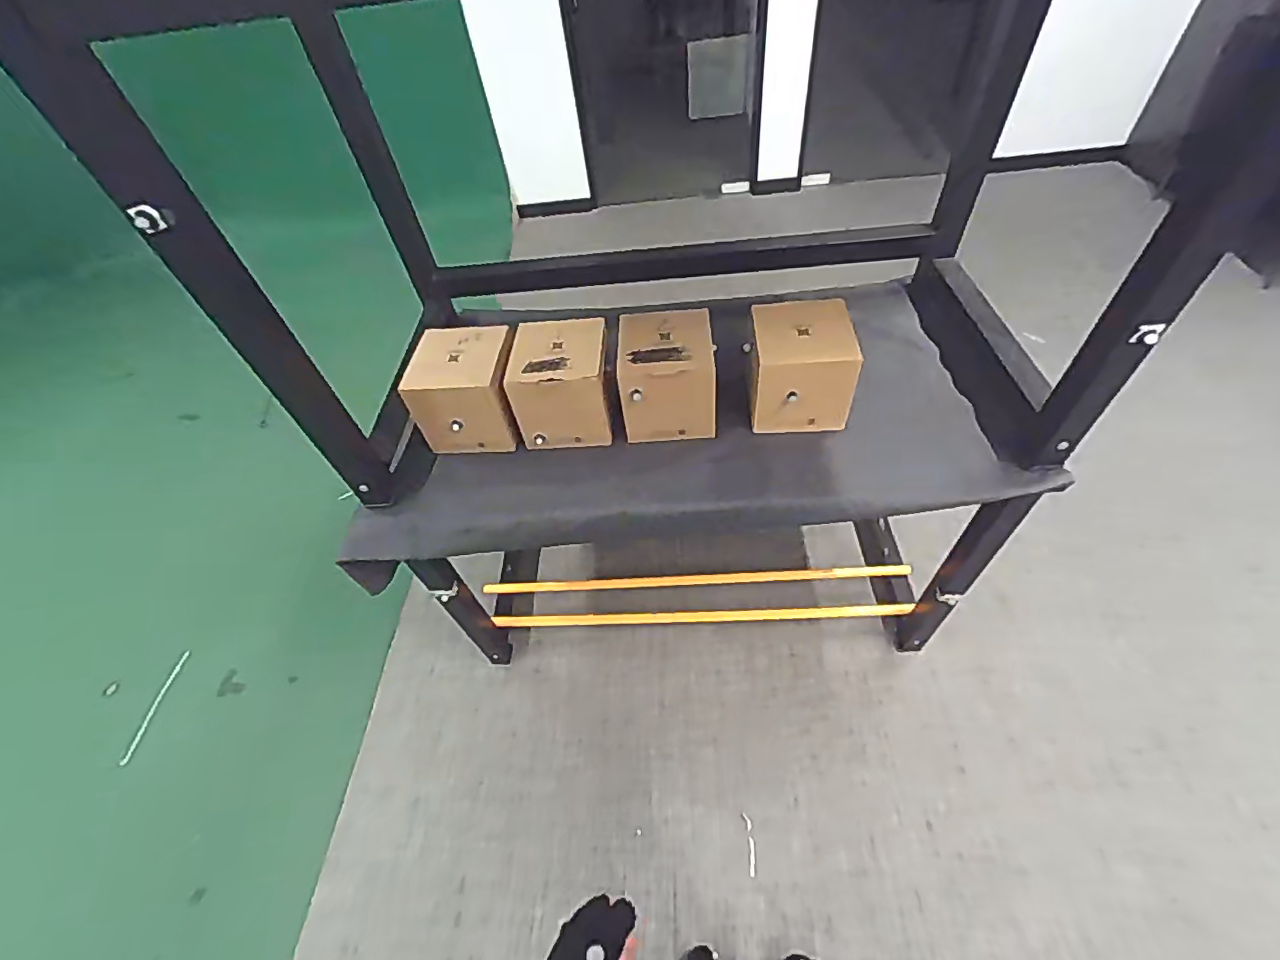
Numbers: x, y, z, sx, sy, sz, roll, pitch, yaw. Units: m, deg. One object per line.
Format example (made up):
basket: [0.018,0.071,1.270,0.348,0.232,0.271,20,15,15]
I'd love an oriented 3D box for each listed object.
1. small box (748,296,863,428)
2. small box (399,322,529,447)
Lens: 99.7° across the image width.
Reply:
small box: [0.289,-0.208,0.979,0.168,0.176,0.179,-1,51,6]
small box: [-0.320,-0.176,1.026,0.168,0.176,0.179,0,51,5]
